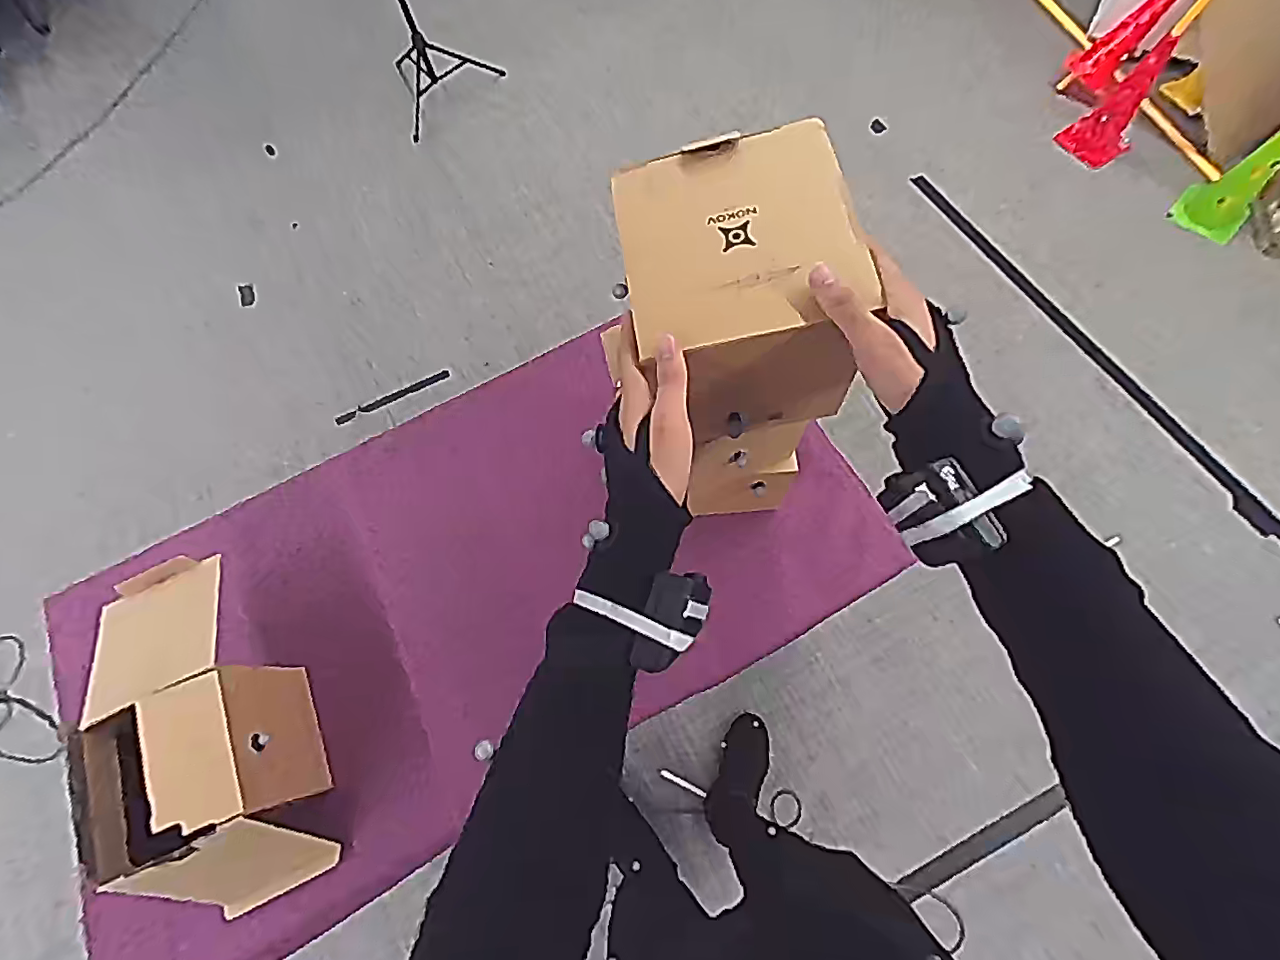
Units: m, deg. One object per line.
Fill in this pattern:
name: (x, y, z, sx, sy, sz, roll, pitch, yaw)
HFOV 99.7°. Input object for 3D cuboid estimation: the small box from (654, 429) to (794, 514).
small box: (0.110, -0.053, 0.784, 0.179, 0.176, 0.168, -4, 70, 3)

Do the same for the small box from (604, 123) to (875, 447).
small box: (0.073, -0.147, 0.456, 0.168, 0.176, 0.179, -10, 72, 6)
